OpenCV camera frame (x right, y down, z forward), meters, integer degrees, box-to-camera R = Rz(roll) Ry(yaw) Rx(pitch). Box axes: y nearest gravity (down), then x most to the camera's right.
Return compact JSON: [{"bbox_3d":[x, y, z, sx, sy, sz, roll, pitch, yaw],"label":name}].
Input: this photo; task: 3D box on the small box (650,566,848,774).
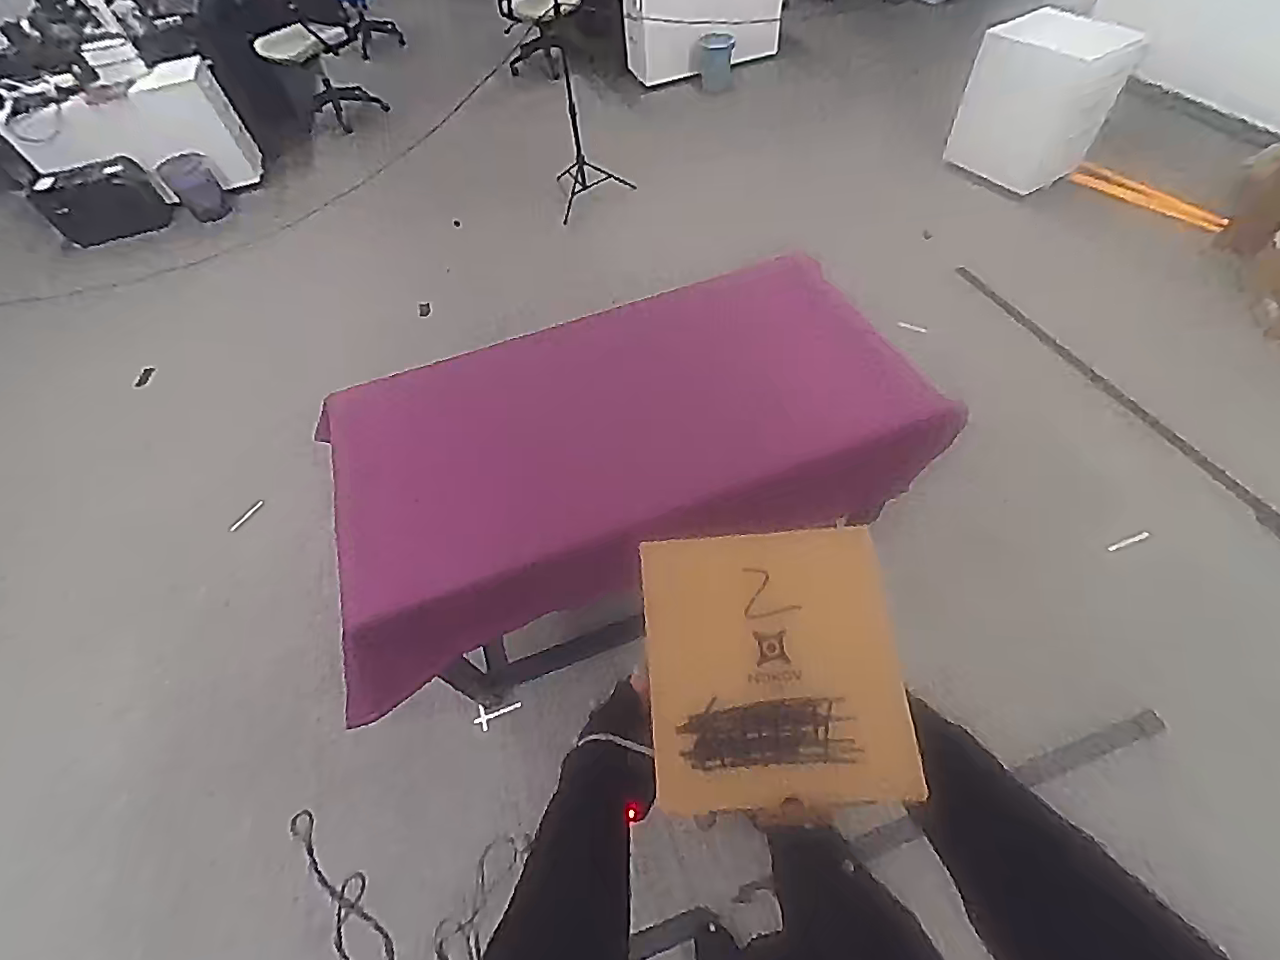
[{"bbox_3d":[0.100,0.202,0.585,0.168,0.176,0.179,-7,70,1],"label":"small box"}]
